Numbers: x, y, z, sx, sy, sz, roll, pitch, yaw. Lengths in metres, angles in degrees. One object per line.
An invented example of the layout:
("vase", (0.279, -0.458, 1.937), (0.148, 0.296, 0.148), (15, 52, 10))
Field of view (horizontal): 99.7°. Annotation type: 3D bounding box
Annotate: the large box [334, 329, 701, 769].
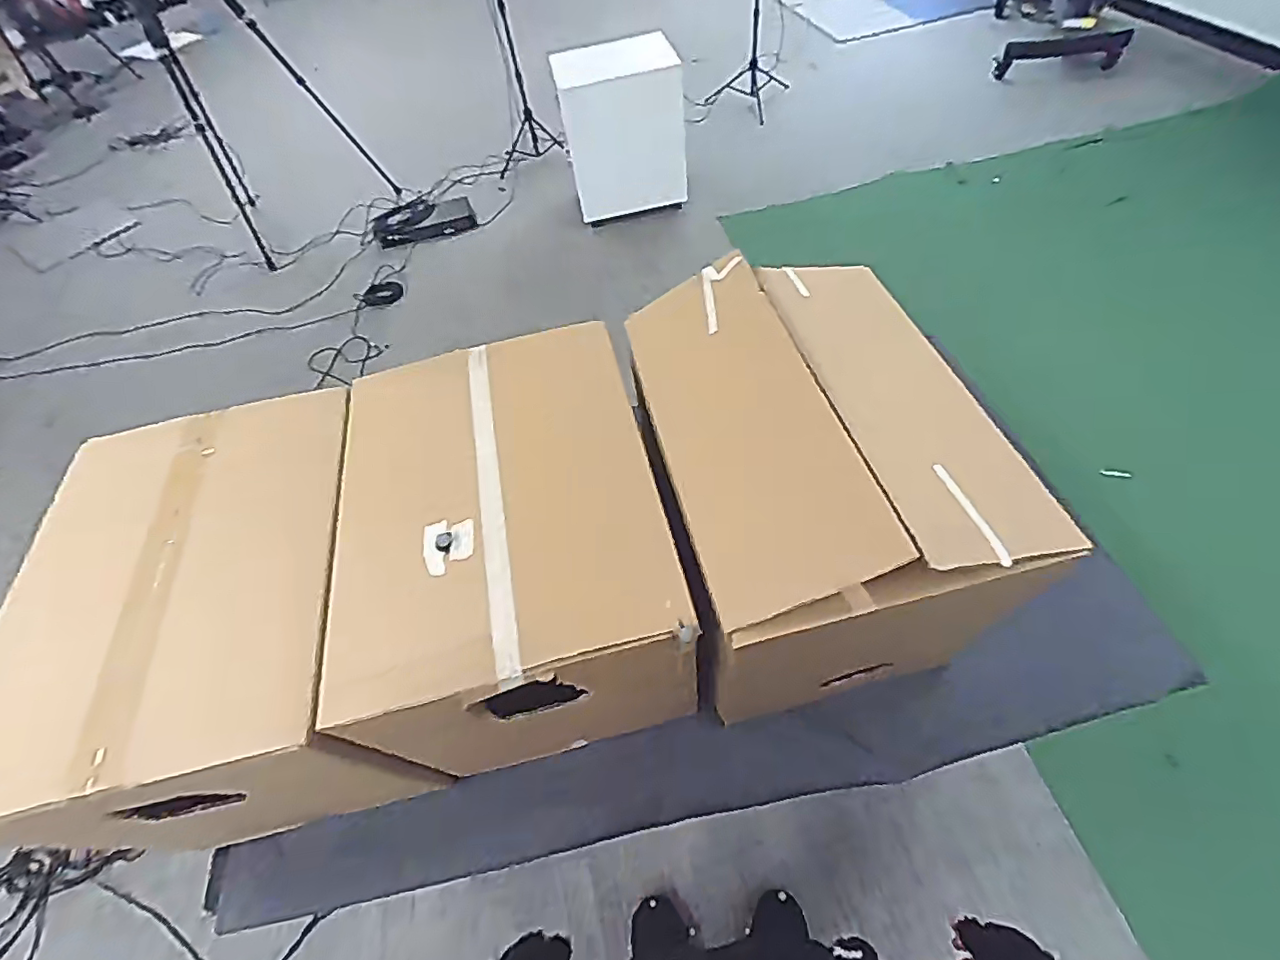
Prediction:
("large box", (-0.130, 0.086, 0.669), (0.320, 0.320, 0.408), (-15, 55, -2))
